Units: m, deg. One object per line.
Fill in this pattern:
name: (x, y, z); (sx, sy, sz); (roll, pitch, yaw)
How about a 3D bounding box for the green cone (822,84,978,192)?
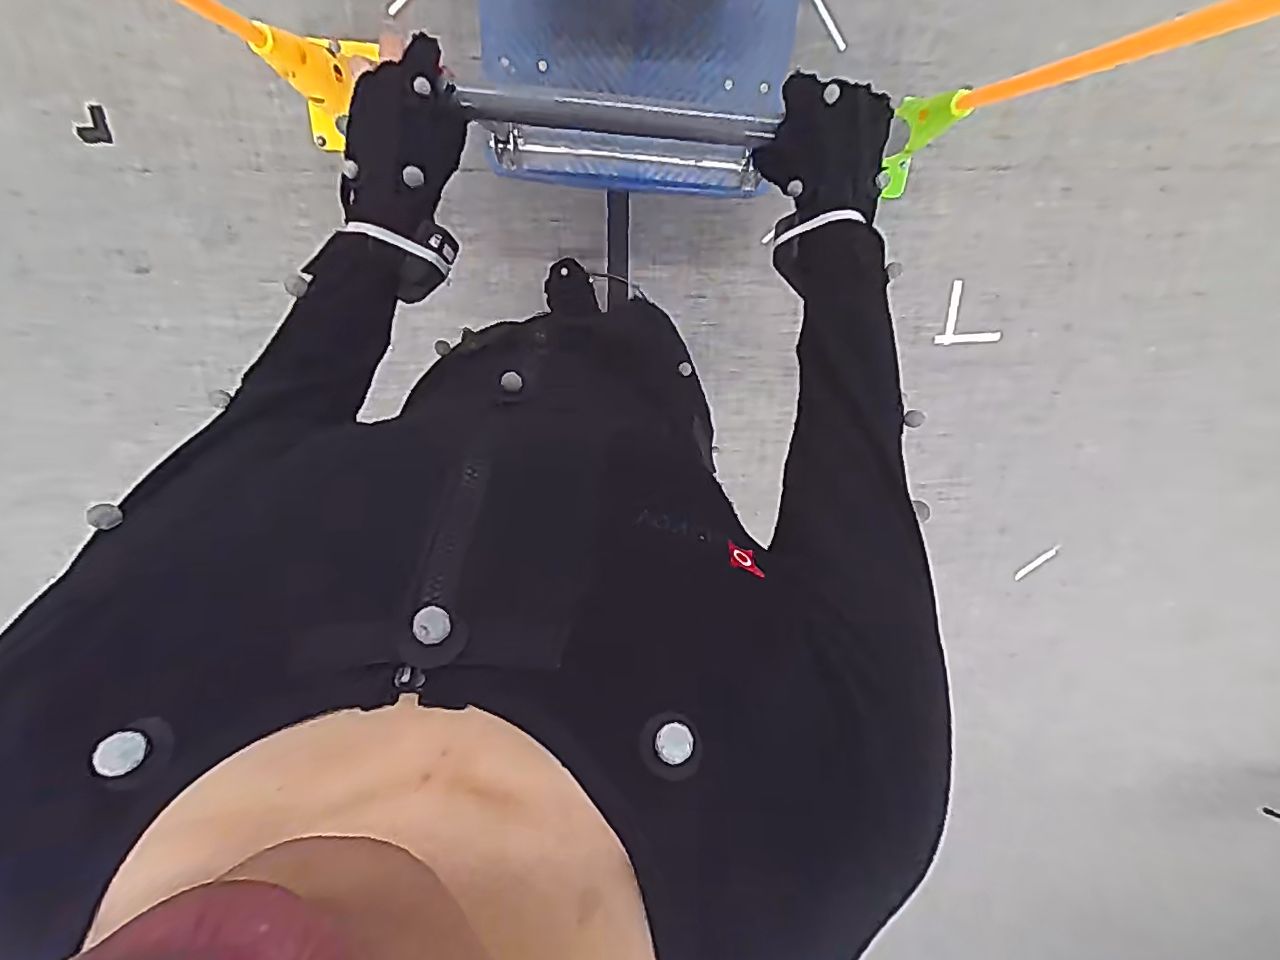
green cone: (0.534, -0.707, 1.072); (0.202, 0.368, 0.200); (3, 113, -5)
